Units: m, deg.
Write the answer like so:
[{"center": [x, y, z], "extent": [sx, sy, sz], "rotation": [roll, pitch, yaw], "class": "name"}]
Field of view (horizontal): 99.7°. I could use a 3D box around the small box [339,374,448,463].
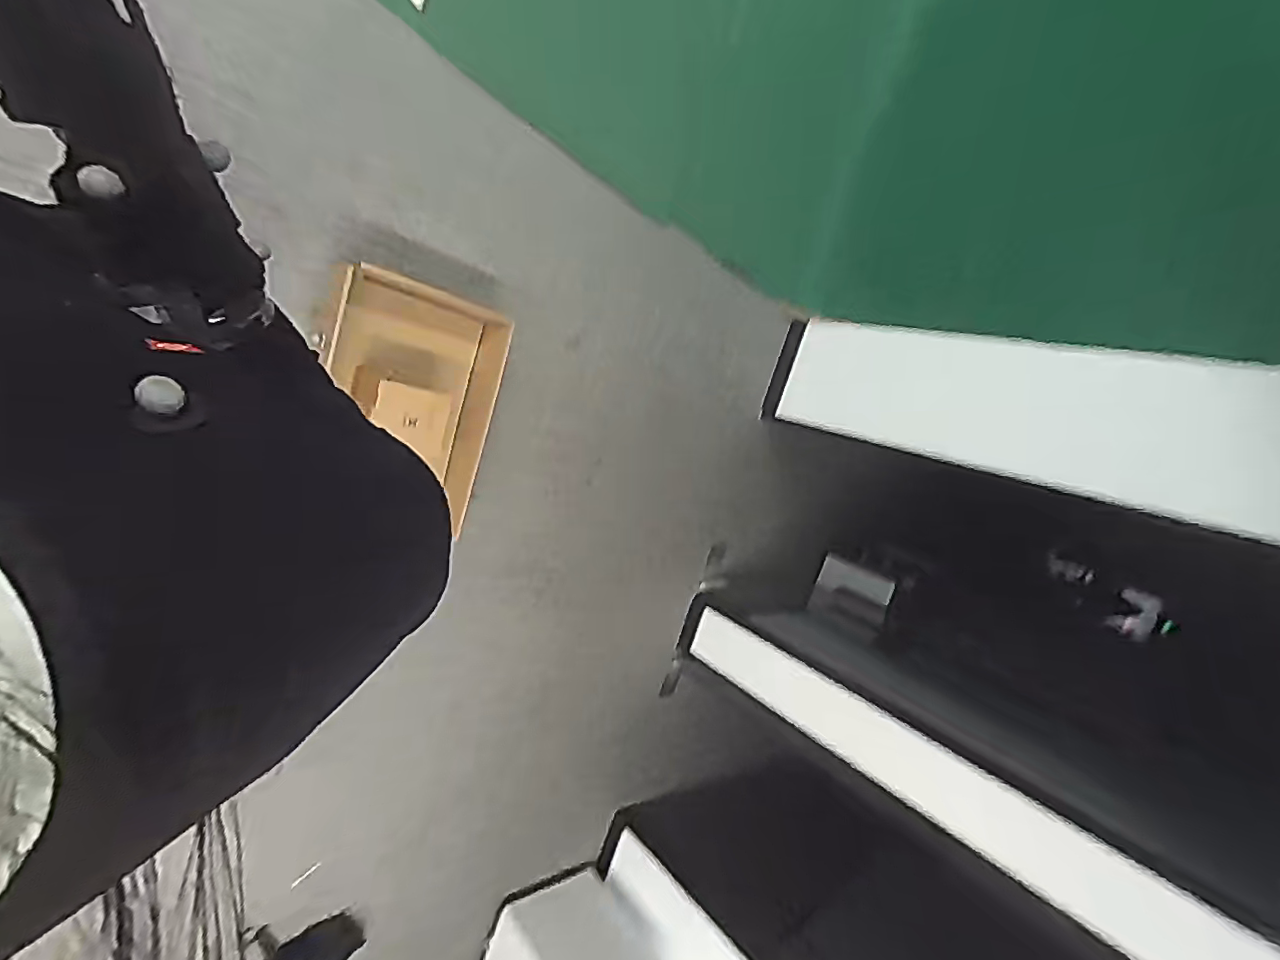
[{"center": [-0.599, -0.151, 1.304], "extent": [0.179, 0.176, 0.168], "rotation": [8, 102, -48], "class": "small box"}]
